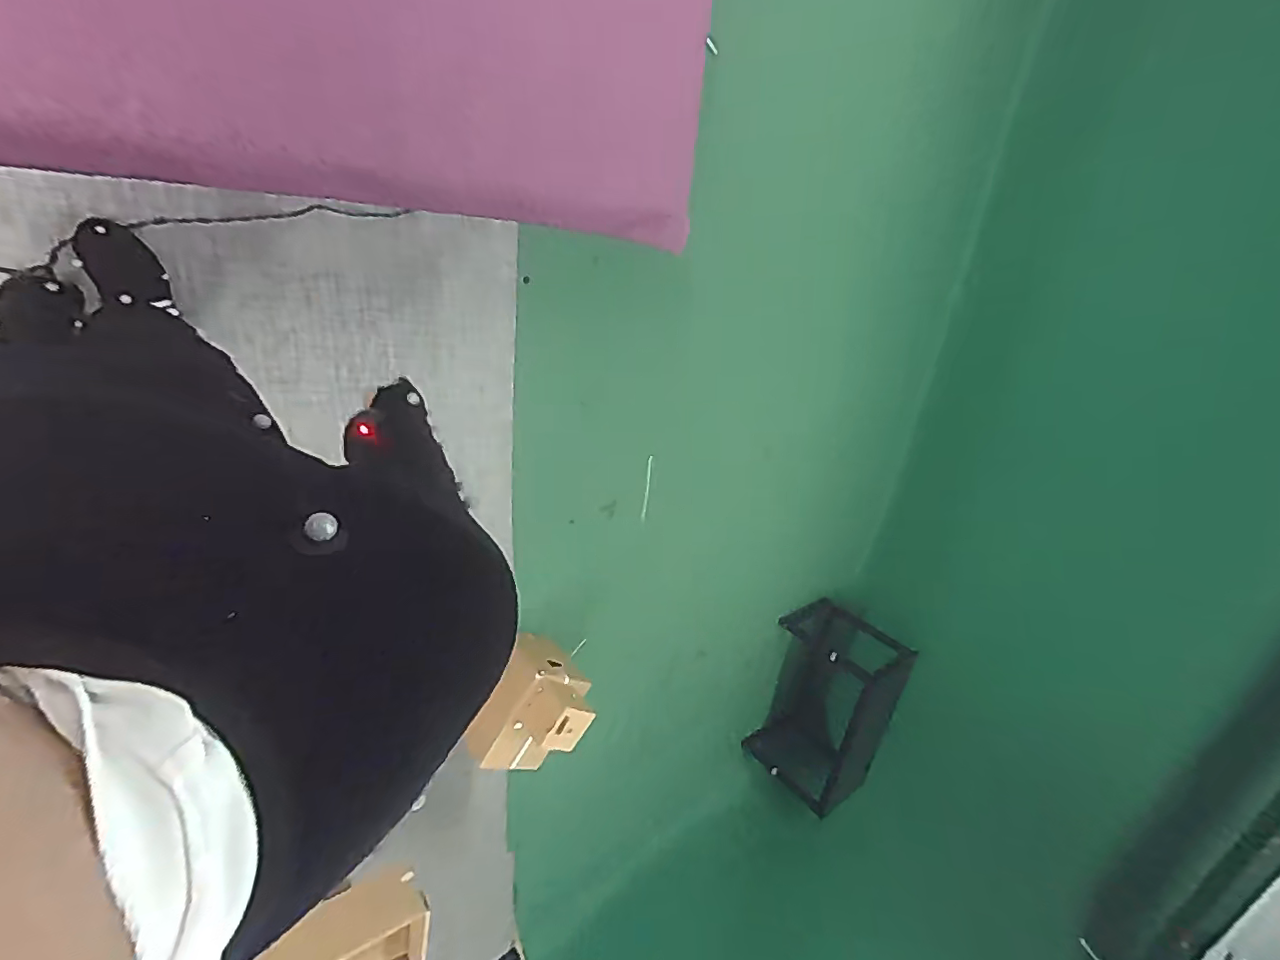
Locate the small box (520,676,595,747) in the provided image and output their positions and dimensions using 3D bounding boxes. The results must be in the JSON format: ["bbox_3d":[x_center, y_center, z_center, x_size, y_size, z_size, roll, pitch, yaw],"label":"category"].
[{"bbox_3d":[-0.305,0.838,1.967,0.168,0.176,0.179,-55,137,-4],"label":"small box"}]
